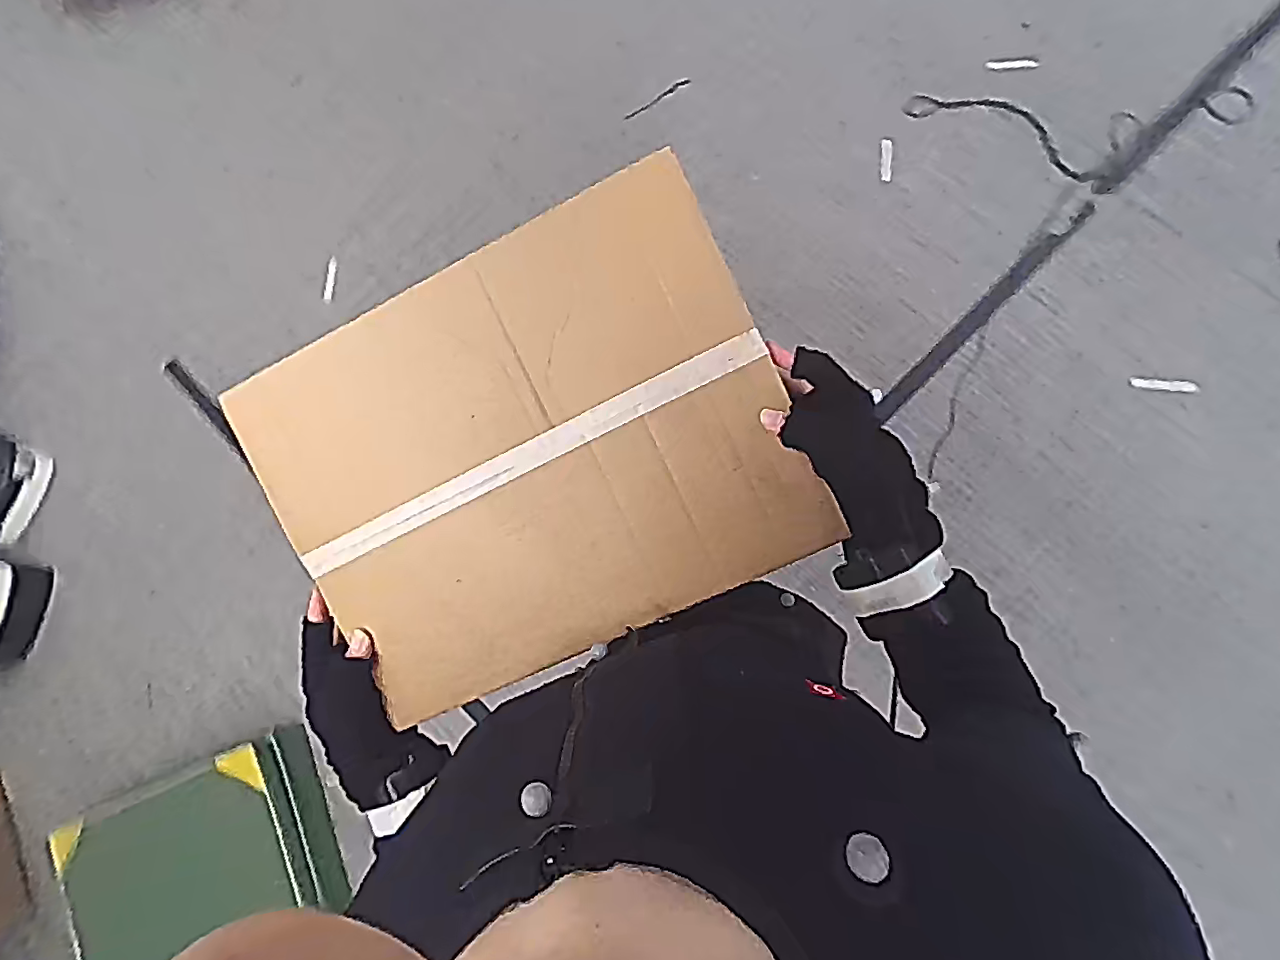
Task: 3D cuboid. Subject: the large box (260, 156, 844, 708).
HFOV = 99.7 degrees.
[{"bbox_3d":[-0.067,-0.034,0.579,0.408,0.320,0.320,-24,93,8],"label":"large box"}]
